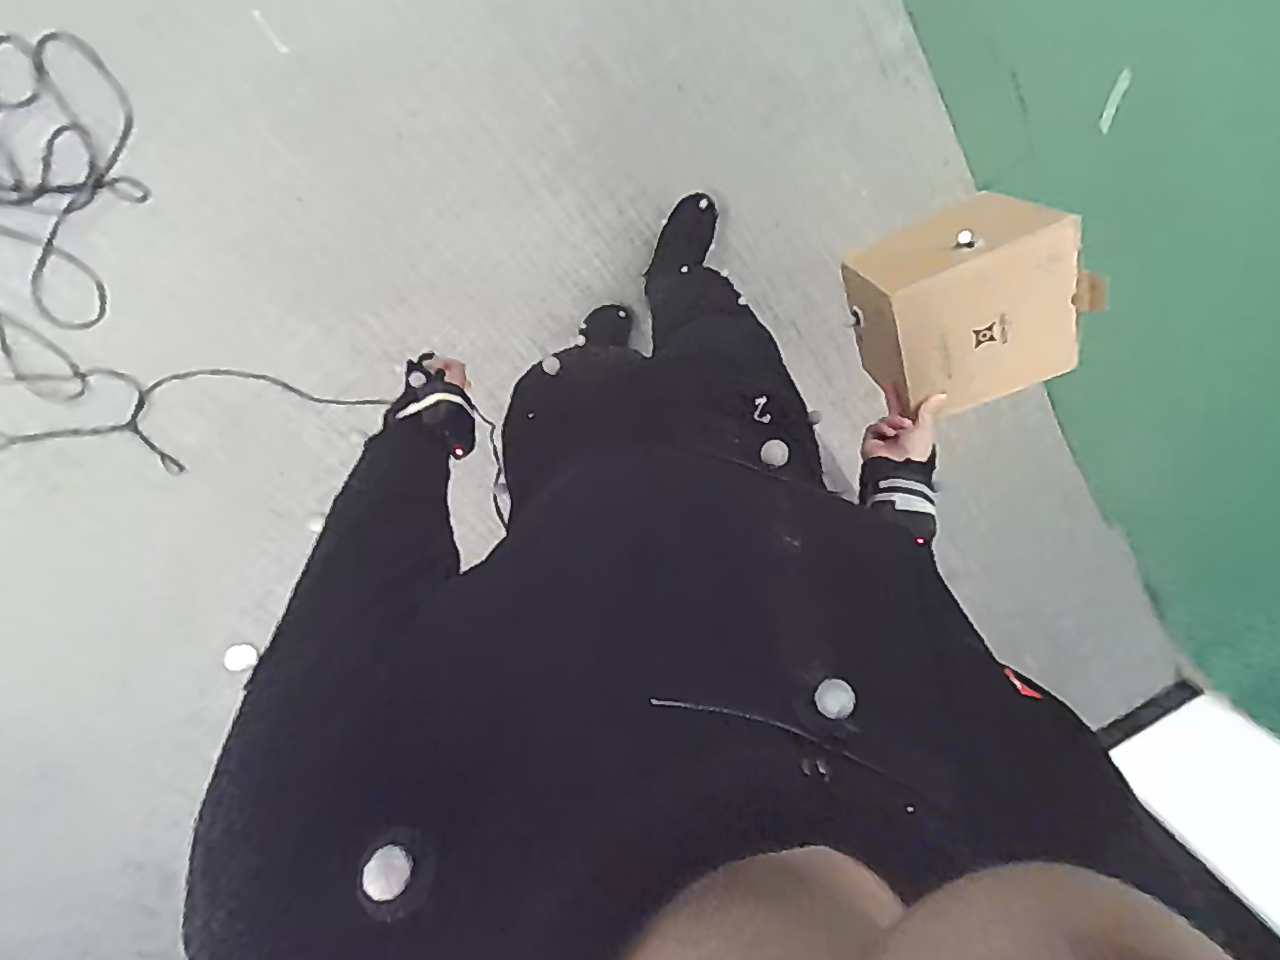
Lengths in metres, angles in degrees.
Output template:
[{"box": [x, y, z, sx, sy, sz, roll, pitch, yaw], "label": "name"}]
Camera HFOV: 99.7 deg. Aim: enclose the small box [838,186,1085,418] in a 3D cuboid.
[{"box": [0.351, -0.205, 0.610, 0.179, 0.176, 0.168, -23, 122, 14], "label": "small box"}]
